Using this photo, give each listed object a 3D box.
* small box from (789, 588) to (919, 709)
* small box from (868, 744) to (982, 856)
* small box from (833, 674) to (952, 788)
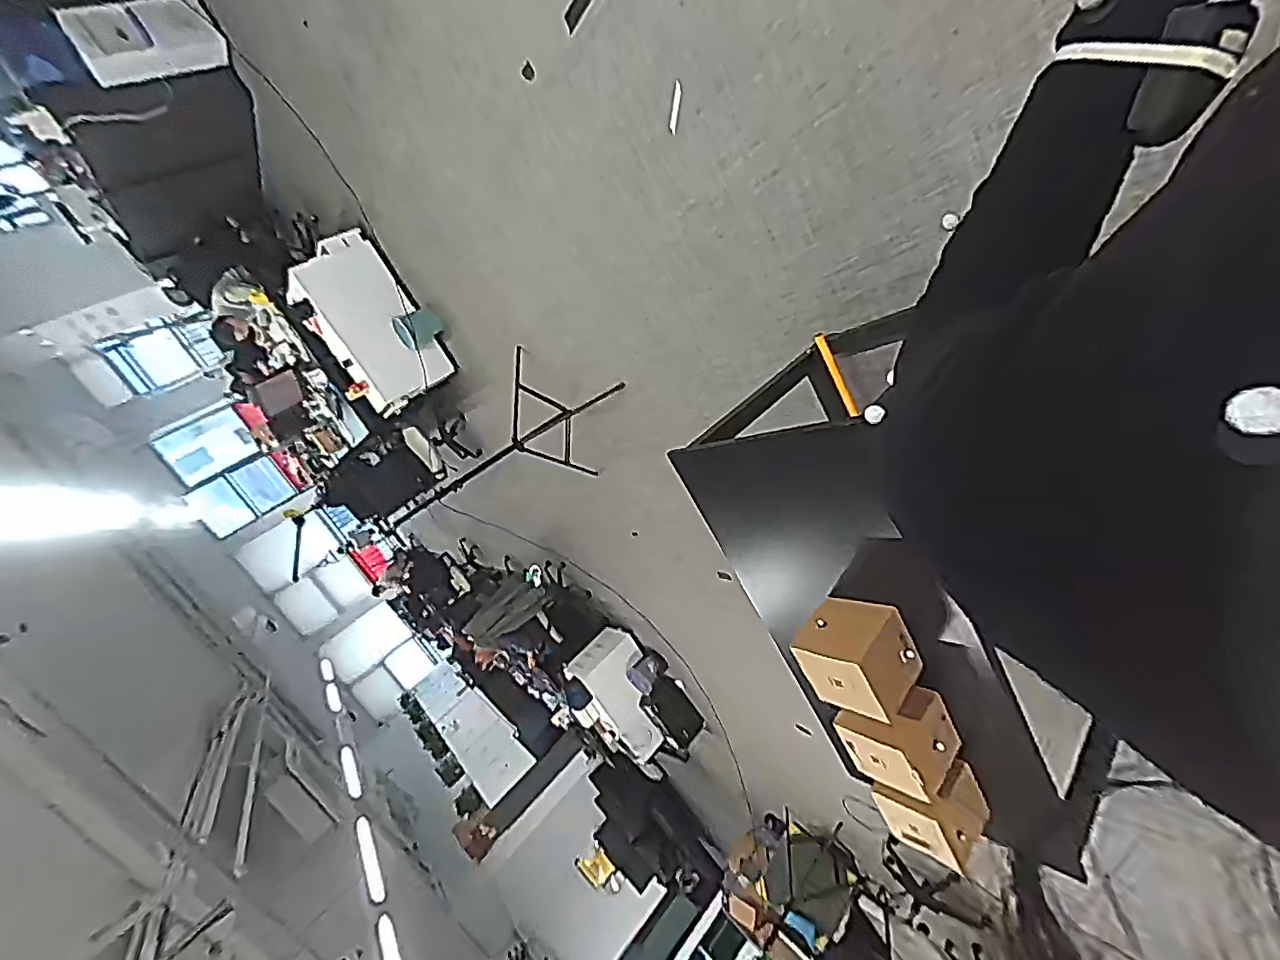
[{"bbox_3d":[0.467,0.355,1.176,0.179,0.176,0.168,-7,120,57],"label":"small box"},{"bbox_3d":[0.694,0.744,1.311,0.168,0.176,0.179,-5,120,57],"label":"small box"},{"bbox_3d":[0.585,0.552,1.240,0.179,0.176,0.168,-5,120,57],"label":"small box"}]
